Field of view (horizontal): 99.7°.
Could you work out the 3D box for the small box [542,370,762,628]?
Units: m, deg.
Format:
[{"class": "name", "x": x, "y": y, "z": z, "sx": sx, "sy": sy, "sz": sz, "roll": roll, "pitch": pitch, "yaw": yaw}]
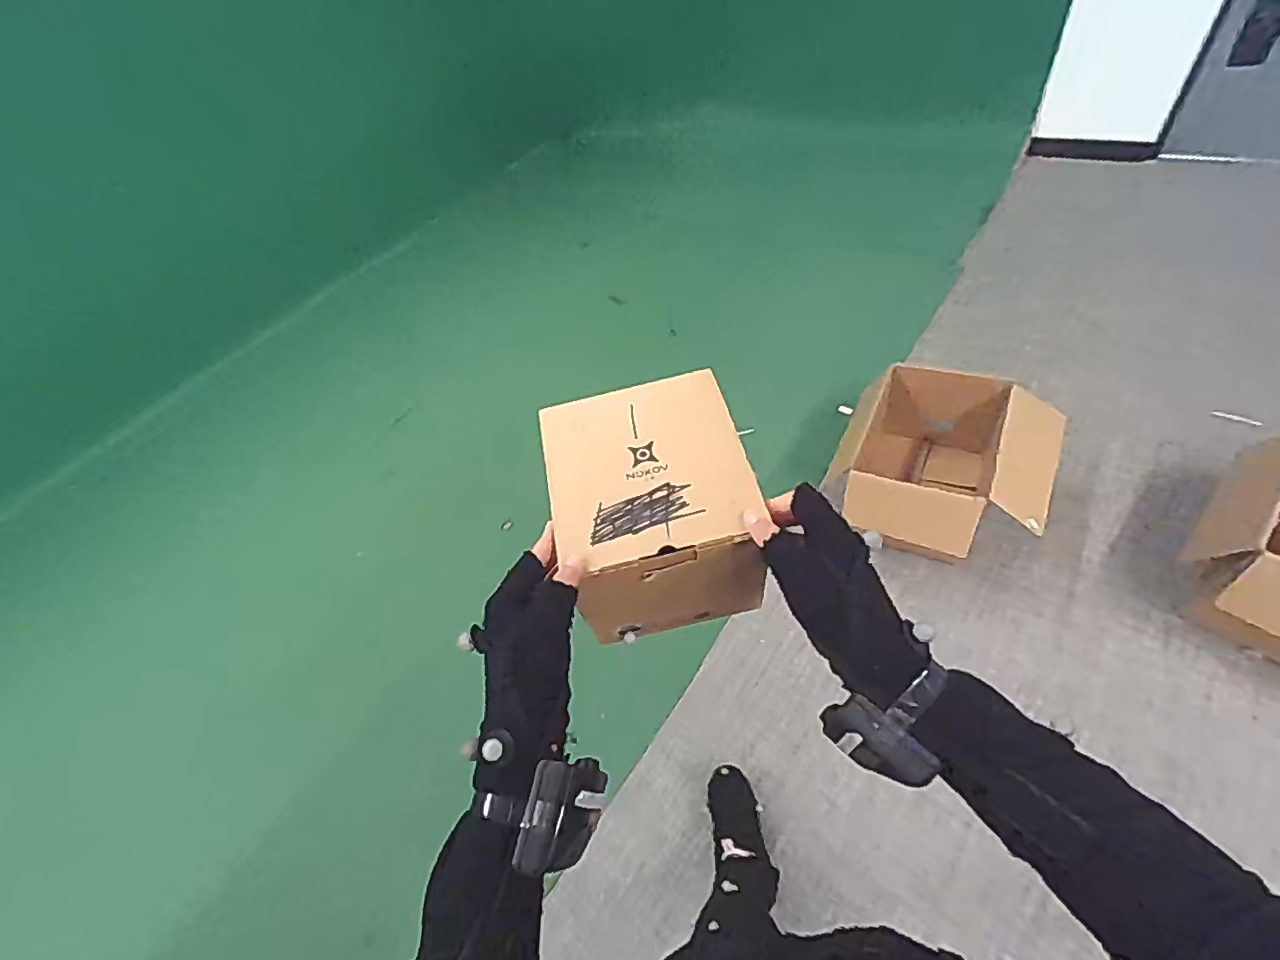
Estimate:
[{"class": "small box", "x": 0.012, "y": 0.028, "z": 0.521, "sx": 0.168, "sy": 0.176, "sz": 0.179, "roll": -12, "pitch": 54, "yaw": 0}]
